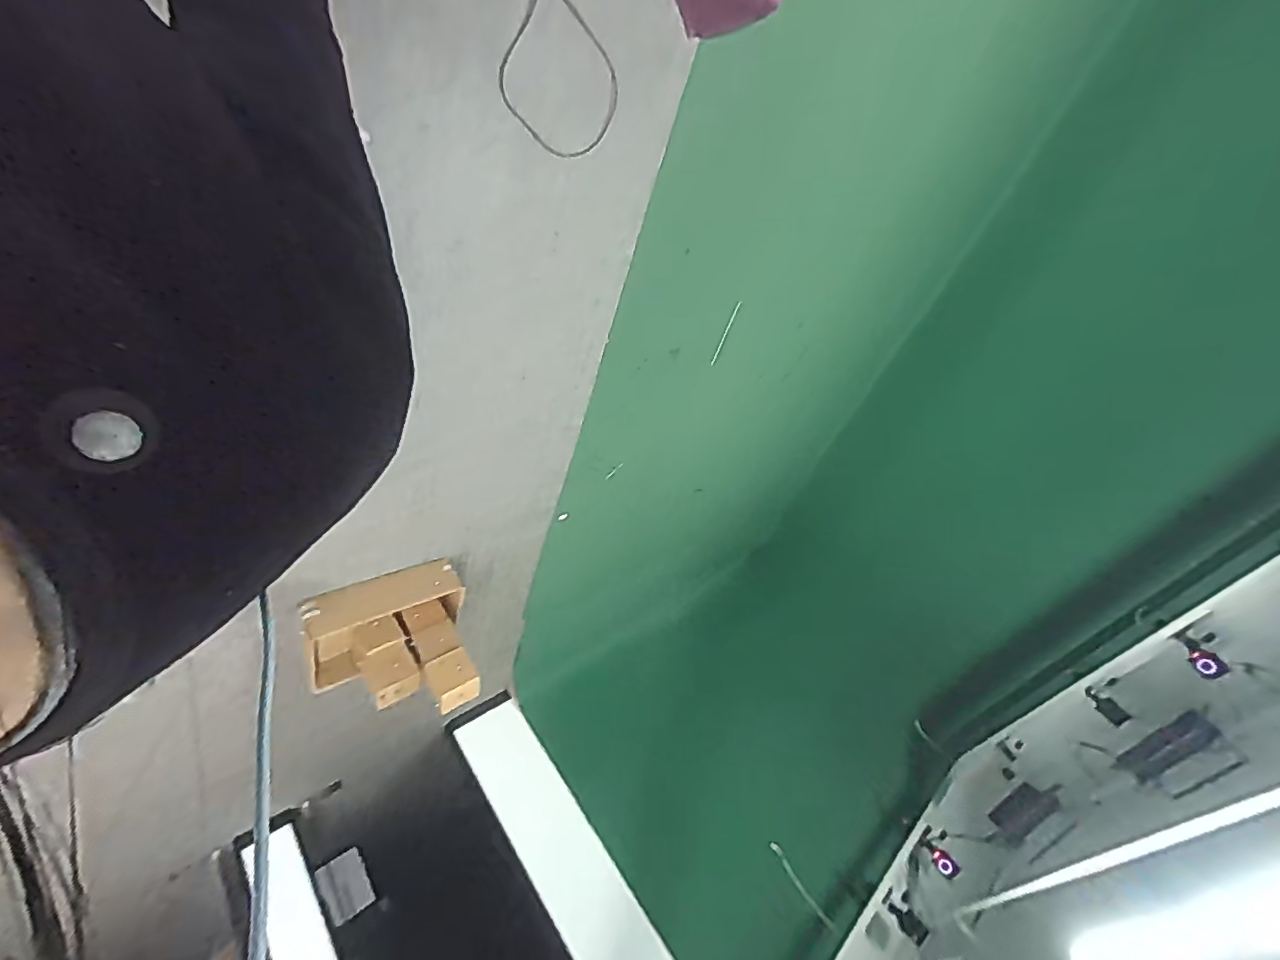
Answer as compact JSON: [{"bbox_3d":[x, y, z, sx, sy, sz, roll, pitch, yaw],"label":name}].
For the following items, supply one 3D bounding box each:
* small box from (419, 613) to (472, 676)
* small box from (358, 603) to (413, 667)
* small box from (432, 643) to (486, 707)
[{"bbox_3d":[-0.868,0.726,2.402,0.179,0.176,0.168,-18,142,-38],"label":"small box"},{"bbox_3d":[-1.115,0.671,2.359,0.168,0.176,0.179,-17,142,-42],"label":"small box"},{"bbox_3d":[-0.775,0.823,2.309,0.168,0.176,0.179,-20,143,-34],"label":"small box"}]
